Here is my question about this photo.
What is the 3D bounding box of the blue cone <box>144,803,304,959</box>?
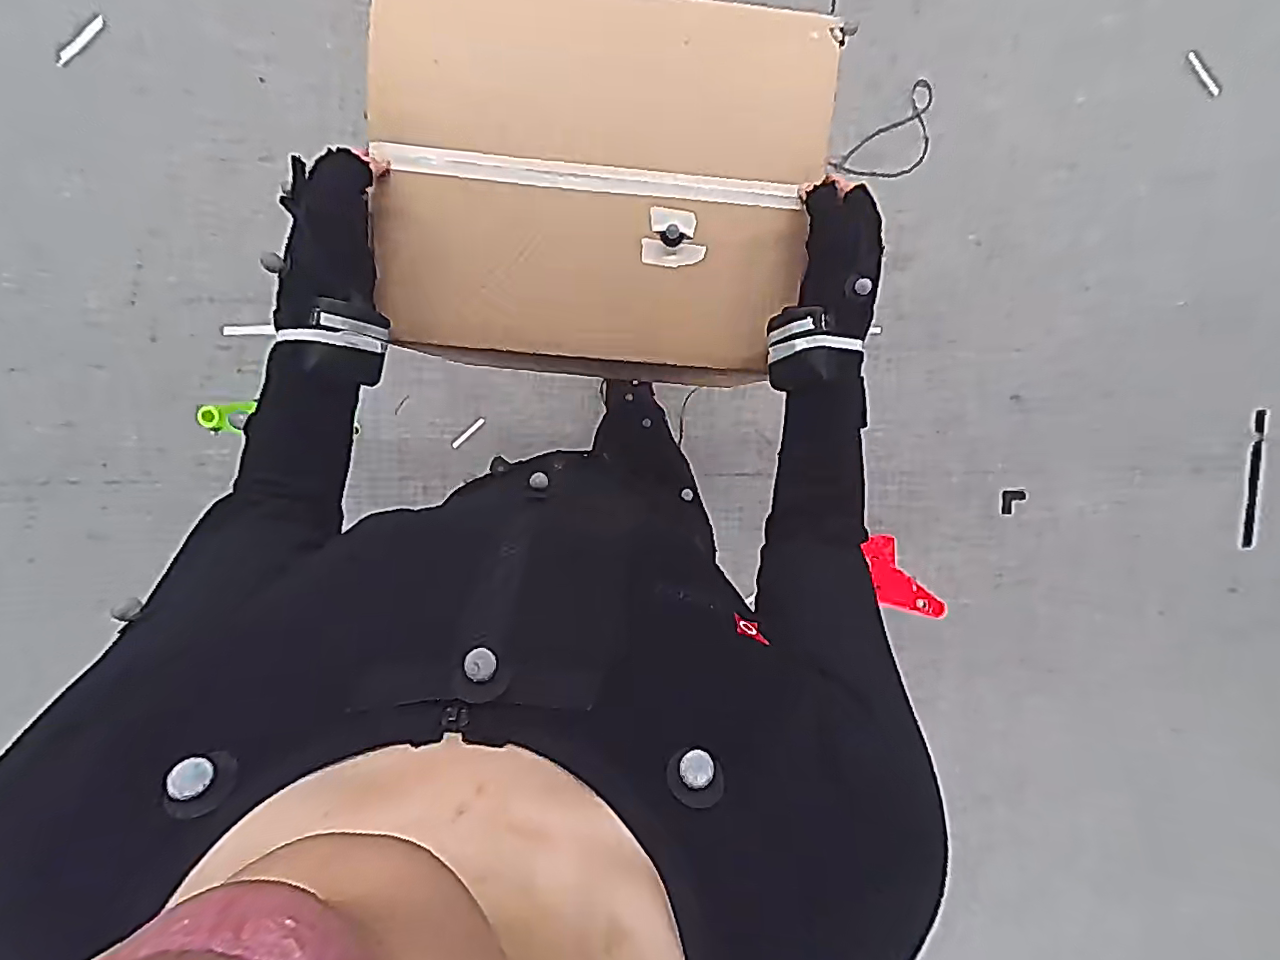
[{"bbox_3d":[-1.006,0.978,1.304,0.192,0.380,0.193,3,93,-2],"label":"blue cone"}]

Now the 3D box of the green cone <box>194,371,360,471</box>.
[{"bbox_3d":[-0.848,-0.140,1.225,0.202,0.368,0.200,-37,94,1],"label":"green cone"}]

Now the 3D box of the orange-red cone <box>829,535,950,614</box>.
[{"bbox_3d":[0.633,0.259,1.329,0.198,0.360,0.199,-3,92,-4],"label":"orange-red cone"}]

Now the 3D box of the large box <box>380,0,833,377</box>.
[{"bbox_3d":[-0.043,-0.299,0.637,0.408,0.320,0.320,4,98,-4],"label":"large box"}]
